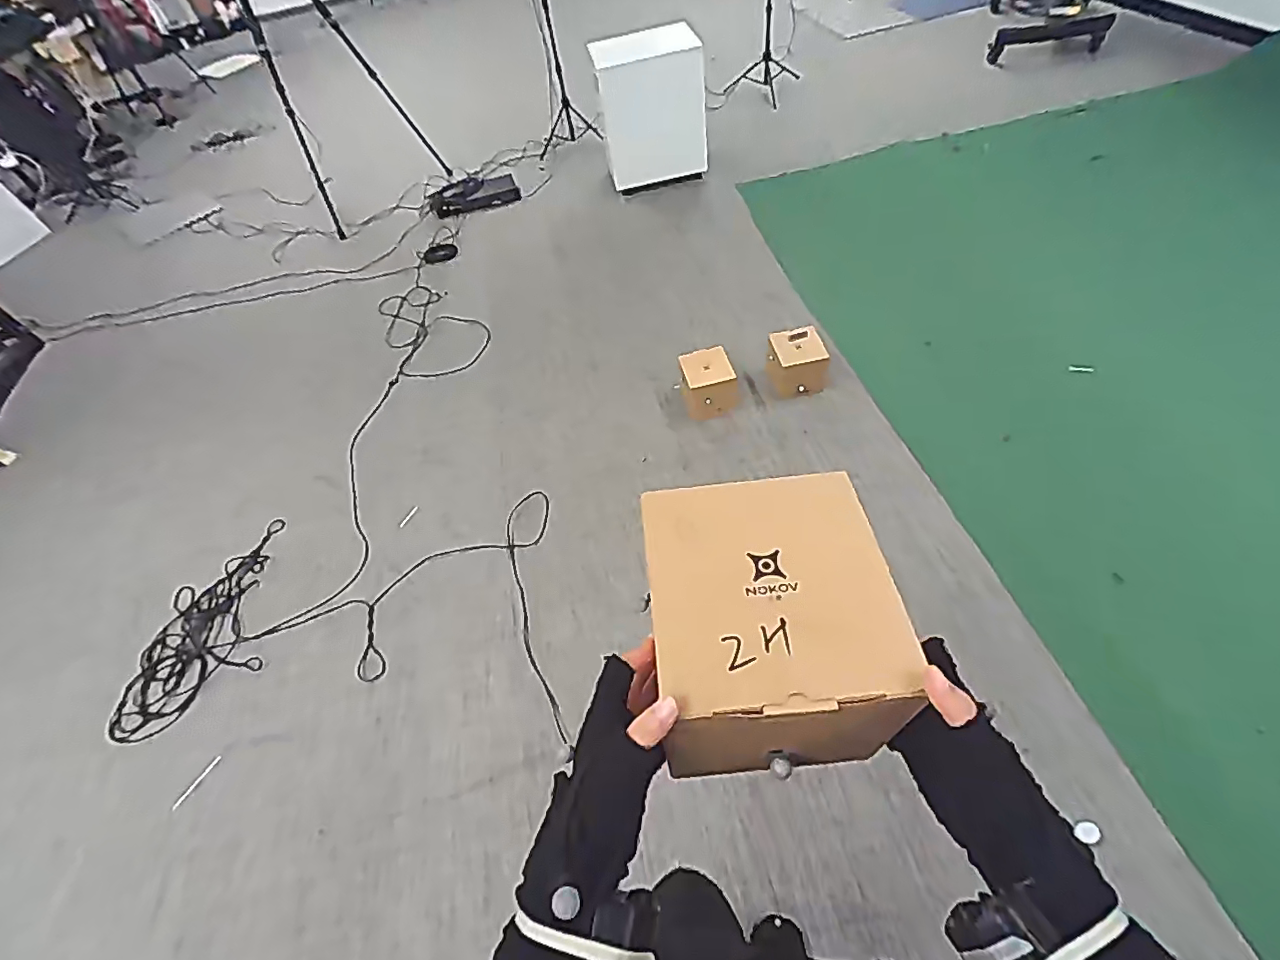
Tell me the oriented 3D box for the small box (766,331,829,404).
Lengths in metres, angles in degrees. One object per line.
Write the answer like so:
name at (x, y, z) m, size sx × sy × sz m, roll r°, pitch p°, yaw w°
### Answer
small box at (0.559, -0.403, 1.949) m, size 0.168 × 0.176 × 0.179 m, roll -12°, pitch 54°, yaw 1°

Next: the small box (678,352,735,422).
small box at (0.242, -0.327, 1.946) m, size 0.168 × 0.176 × 0.179 m, roll -14°, pitch 52°, yaw -2°

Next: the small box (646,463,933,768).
small box at (0.095, 0.111, 0.438) m, size 0.168 × 0.176 × 0.179 m, roll -7°, pitch 49°, yaw 1°
